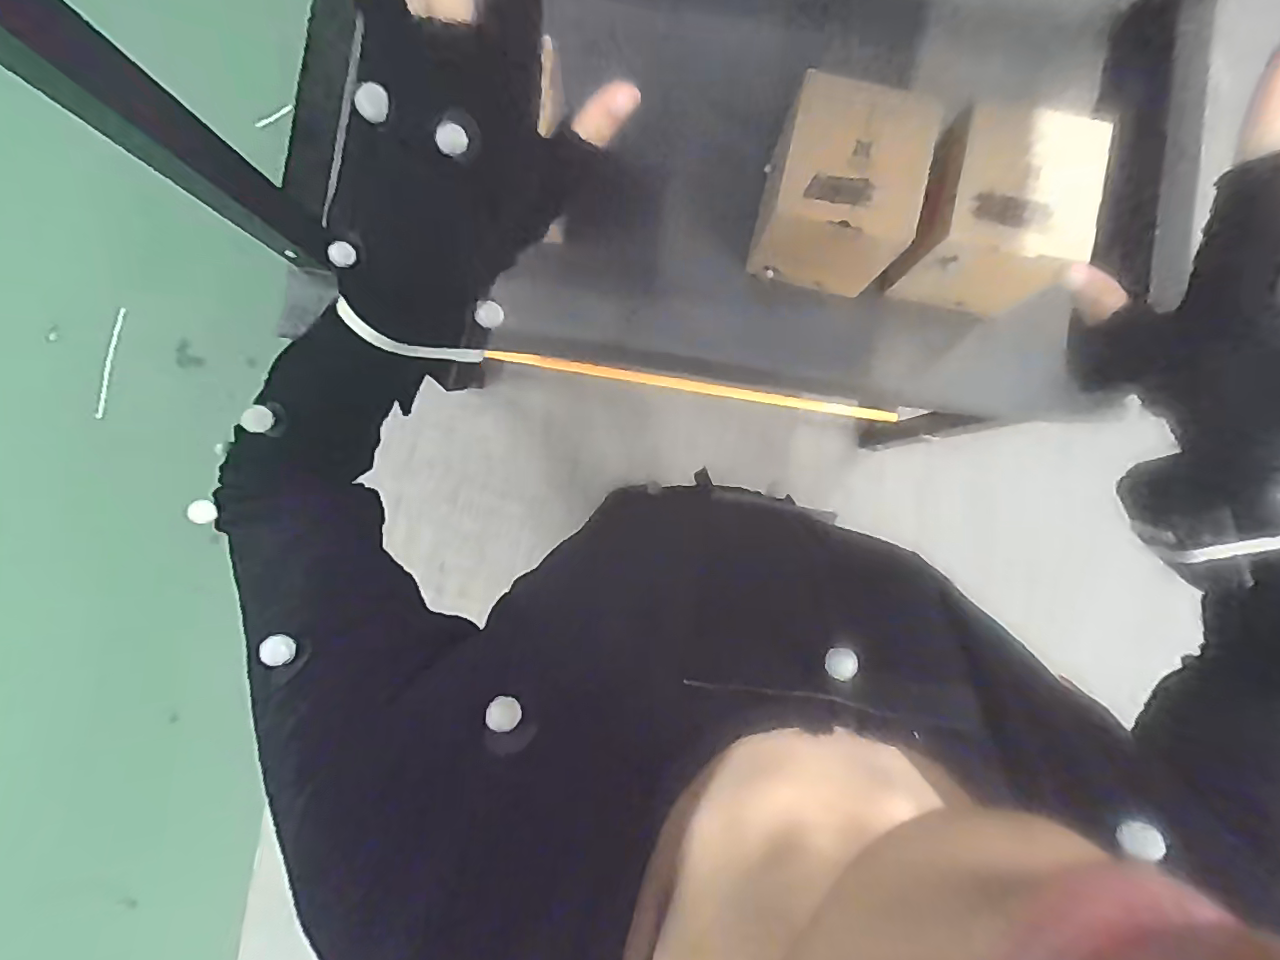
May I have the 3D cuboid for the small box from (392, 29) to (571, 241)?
[{"bbox_3d":[-0.192,-0.431,0.701,0.179,0.176,0.168,4,88,-1],"label":"small box"}]
